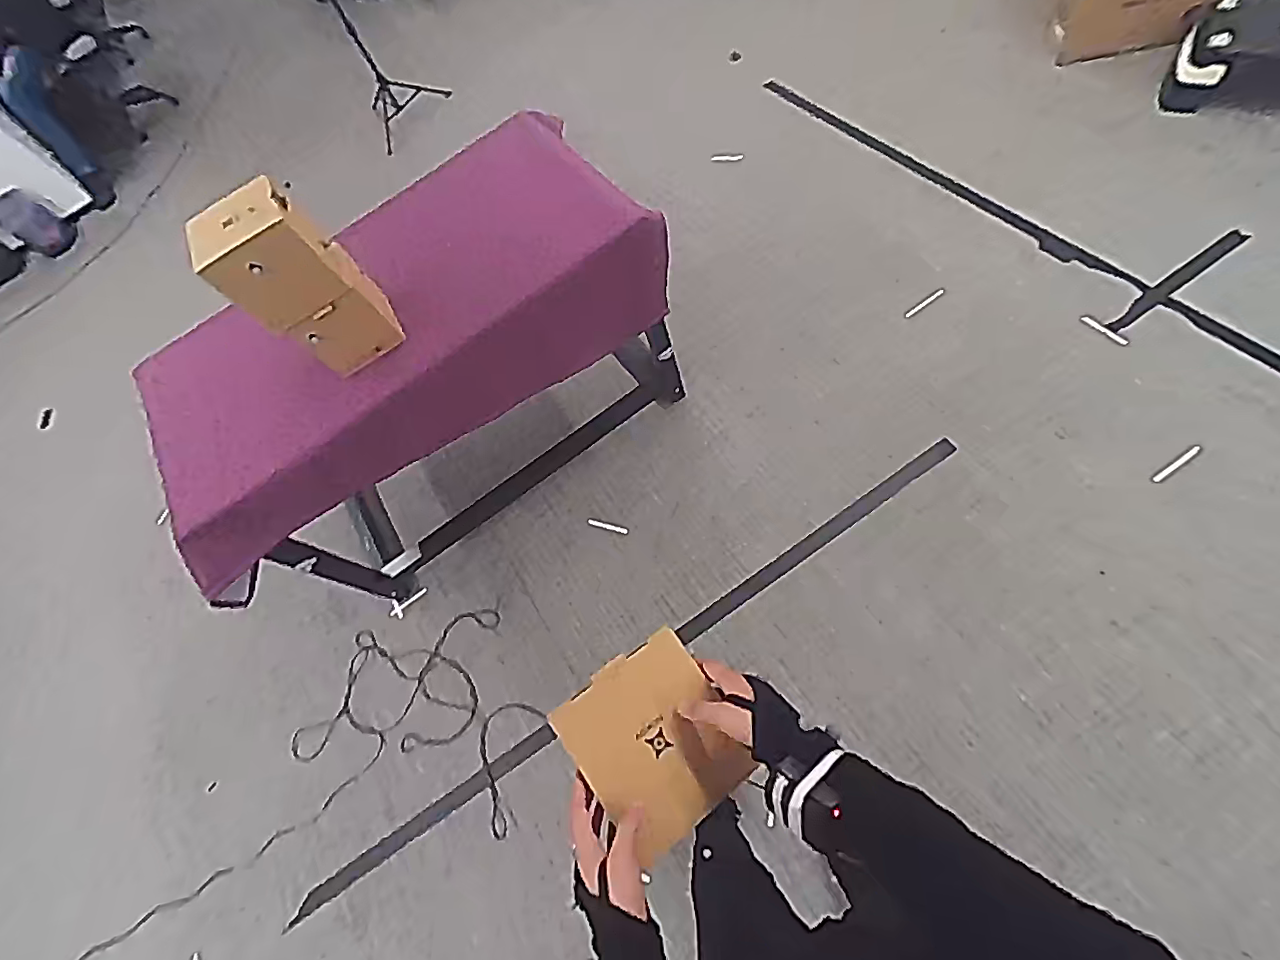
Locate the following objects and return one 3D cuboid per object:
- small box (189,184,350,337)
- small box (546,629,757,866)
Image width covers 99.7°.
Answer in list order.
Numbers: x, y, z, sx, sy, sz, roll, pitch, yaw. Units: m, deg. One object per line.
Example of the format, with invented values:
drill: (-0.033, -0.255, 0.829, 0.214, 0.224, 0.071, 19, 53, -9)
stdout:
small box: (-0.693, -0.406, 1.021, 0.179, 0.176, 0.168, -33, 62, -2)
small box: (0.008, 0.306, 0.650, 0.168, 0.176, 0.179, -33, 72, -17)
